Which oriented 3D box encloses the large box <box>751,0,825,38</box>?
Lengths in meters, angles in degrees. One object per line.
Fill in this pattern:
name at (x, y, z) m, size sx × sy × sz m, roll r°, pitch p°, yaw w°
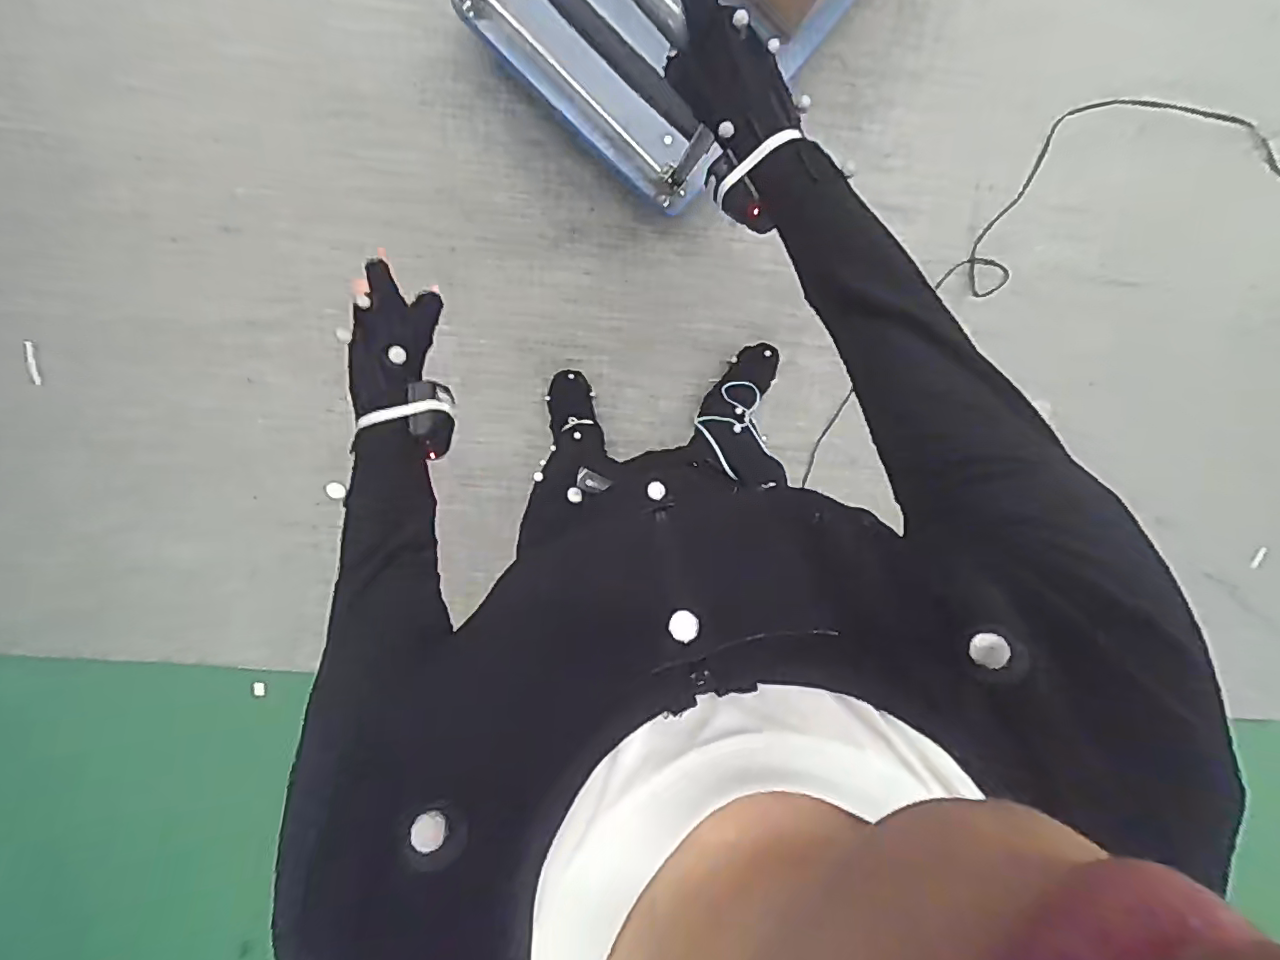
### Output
large box at (0.233, -1.022, 0.824) m, size 0.408 × 0.320 × 0.320 m, roll 36°, pitch 103°, yaw -12°
